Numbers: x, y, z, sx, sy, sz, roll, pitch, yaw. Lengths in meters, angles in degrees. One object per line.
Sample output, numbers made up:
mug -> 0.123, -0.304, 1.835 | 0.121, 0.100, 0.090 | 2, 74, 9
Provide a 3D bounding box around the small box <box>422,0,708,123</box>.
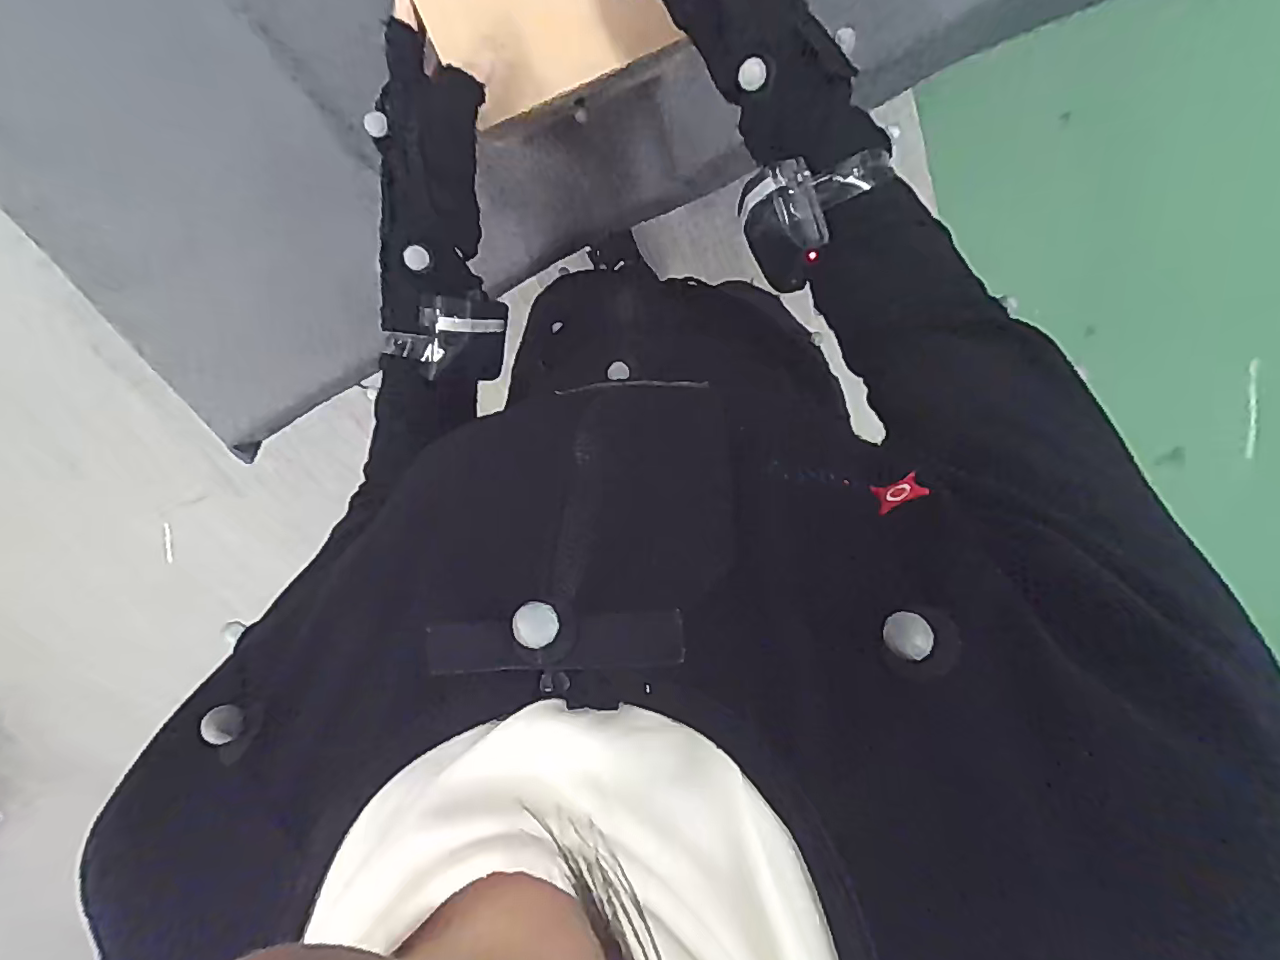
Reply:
small box -> -0.069, -0.380, 0.387 | 0.179, 0.176, 0.168 | -18, 120, 4
